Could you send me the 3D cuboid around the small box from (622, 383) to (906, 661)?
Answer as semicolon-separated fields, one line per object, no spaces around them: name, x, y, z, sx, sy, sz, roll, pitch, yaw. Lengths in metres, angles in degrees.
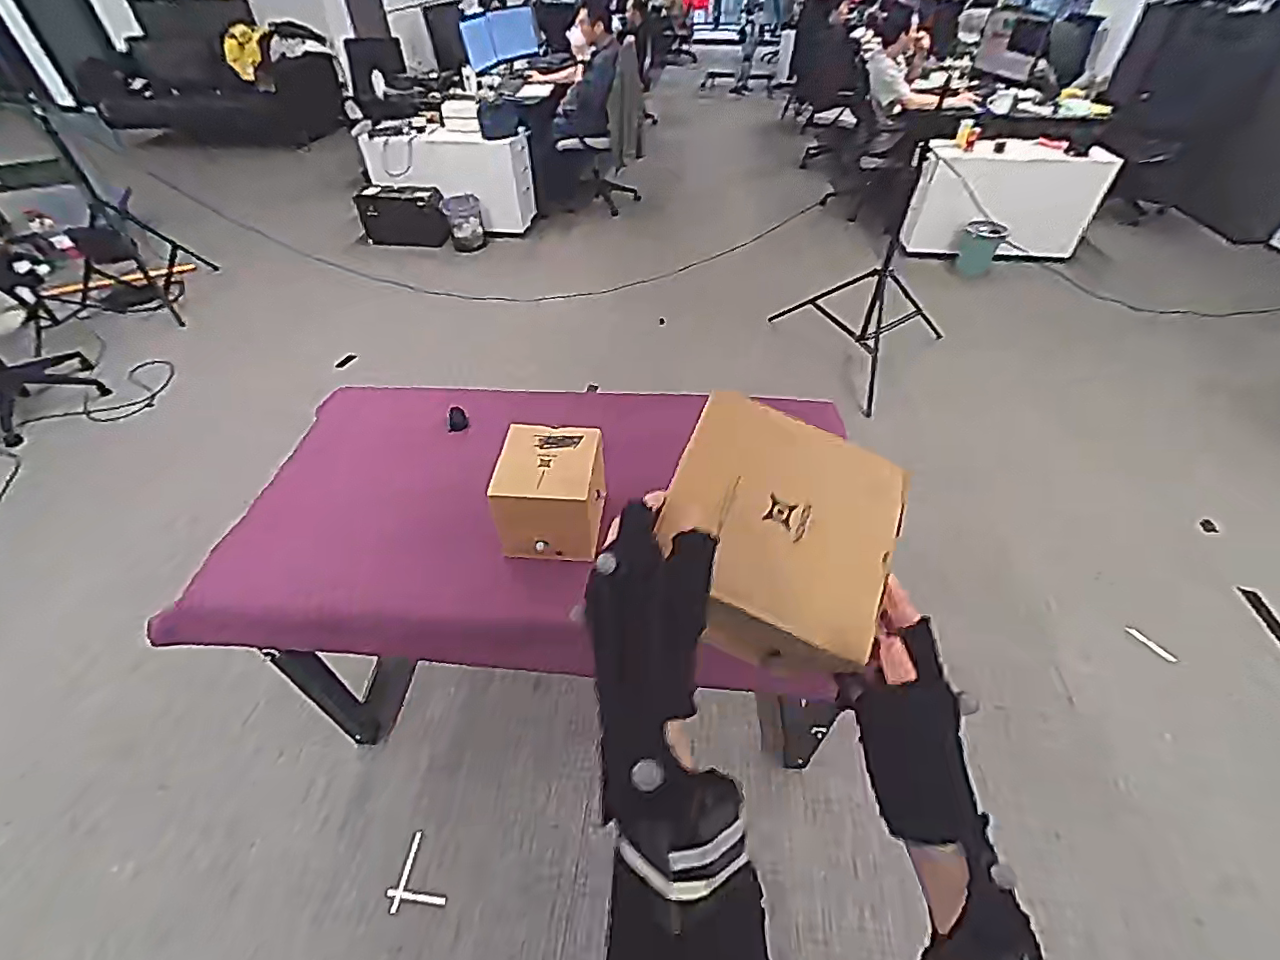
small box;0.097;0.050;0.482;0.179;0.176;0.168;22;65;2

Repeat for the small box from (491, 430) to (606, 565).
small box;-0.154;0.030;0.980;0.168;0.176;0.179;3;45;3
